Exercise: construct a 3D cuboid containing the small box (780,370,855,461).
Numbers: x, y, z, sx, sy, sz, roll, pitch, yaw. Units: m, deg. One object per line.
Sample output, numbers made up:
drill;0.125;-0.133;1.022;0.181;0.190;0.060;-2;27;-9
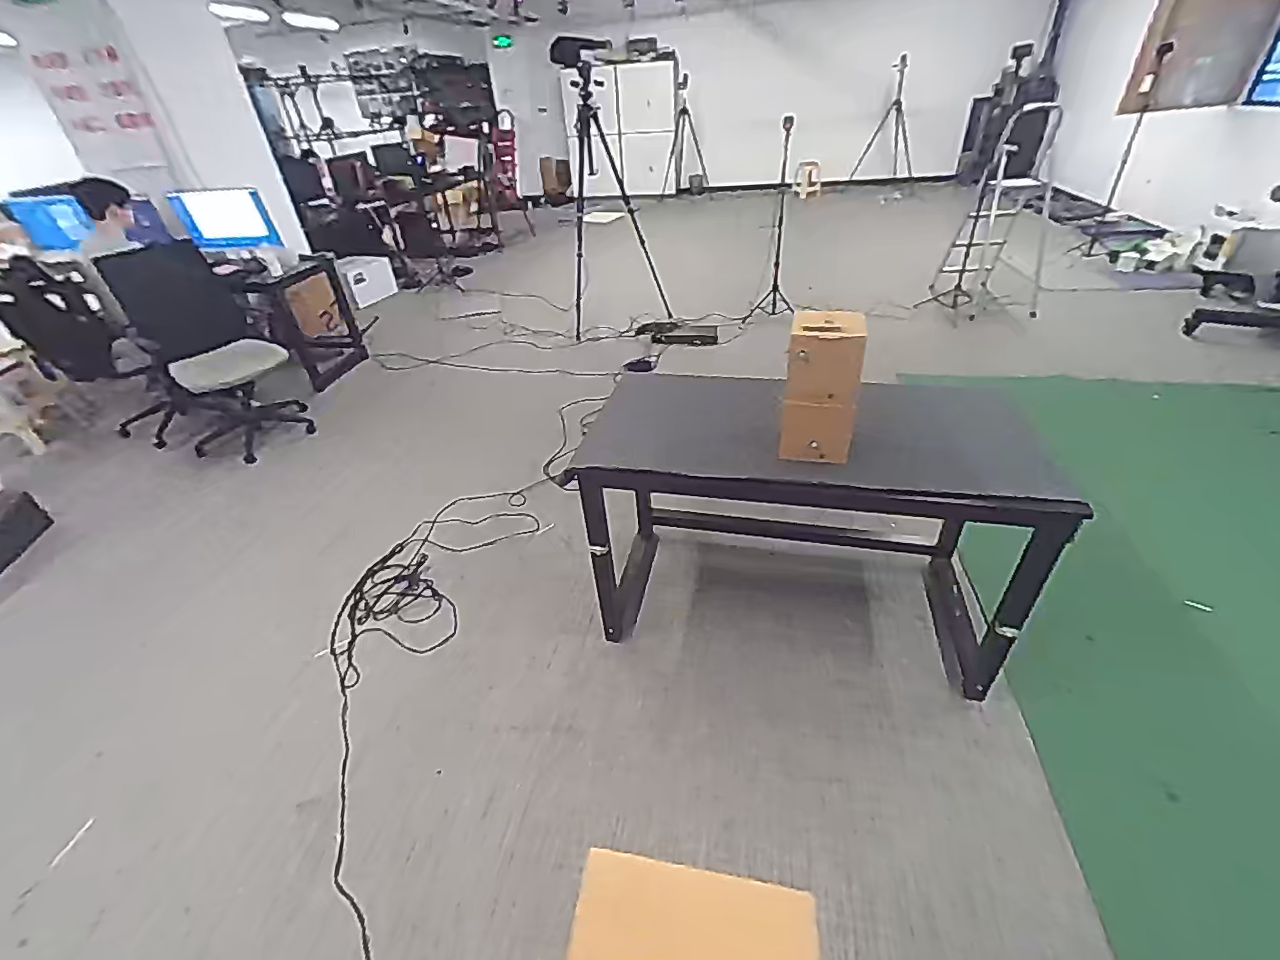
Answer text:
small box;0.456;-0.170;1.401;0.168;0.176;0.179;5;36;15
